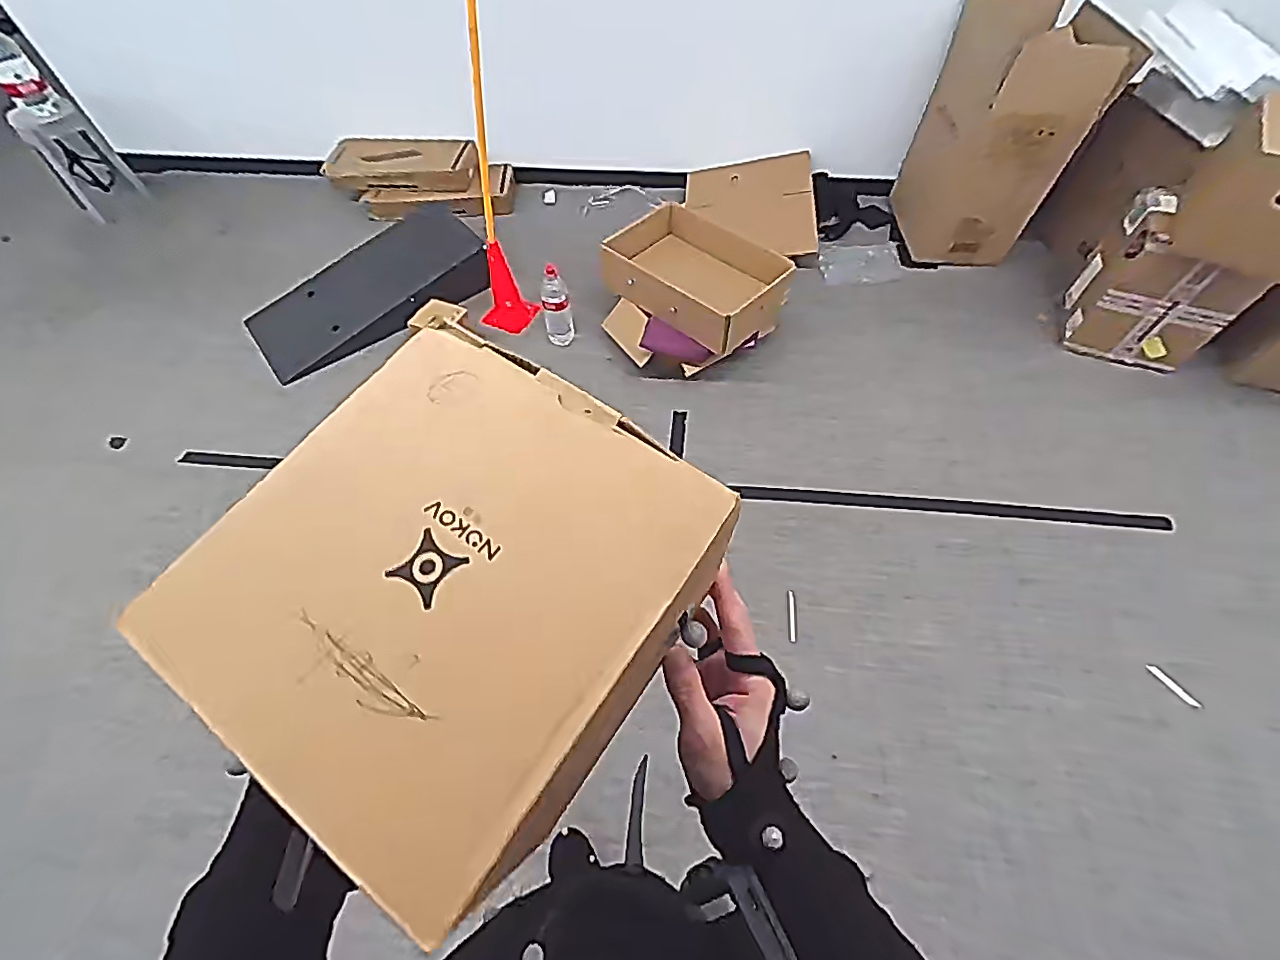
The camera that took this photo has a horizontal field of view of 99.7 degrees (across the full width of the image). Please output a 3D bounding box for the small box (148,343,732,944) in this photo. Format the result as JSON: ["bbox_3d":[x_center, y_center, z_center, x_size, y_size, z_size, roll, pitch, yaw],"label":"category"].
[{"bbox_3d":[-0.073,0.071,0.287,0.168,0.176,0.179,31,71,15],"label":"small box"}]
